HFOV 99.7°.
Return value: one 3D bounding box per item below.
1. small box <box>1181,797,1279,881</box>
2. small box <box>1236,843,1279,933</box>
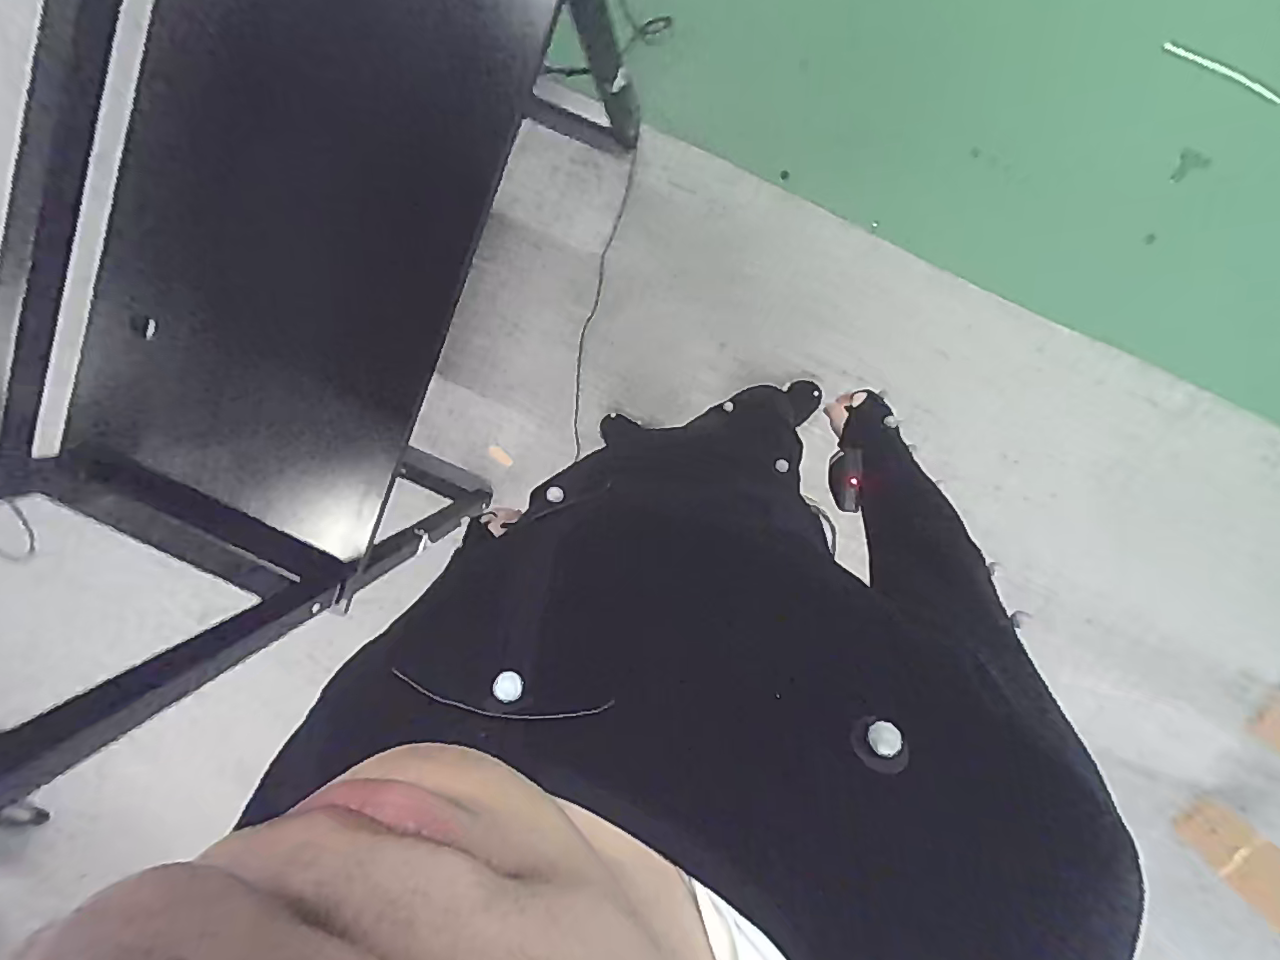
[{"bbox_3d":[1.746,1.059,1.555,0.179,0.176,0.168,34,103,1],"label":"small box"},{"bbox_3d":[1.730,1.101,1.399,0.168,0.176,0.179,32,102,0],"label":"small box"}]
